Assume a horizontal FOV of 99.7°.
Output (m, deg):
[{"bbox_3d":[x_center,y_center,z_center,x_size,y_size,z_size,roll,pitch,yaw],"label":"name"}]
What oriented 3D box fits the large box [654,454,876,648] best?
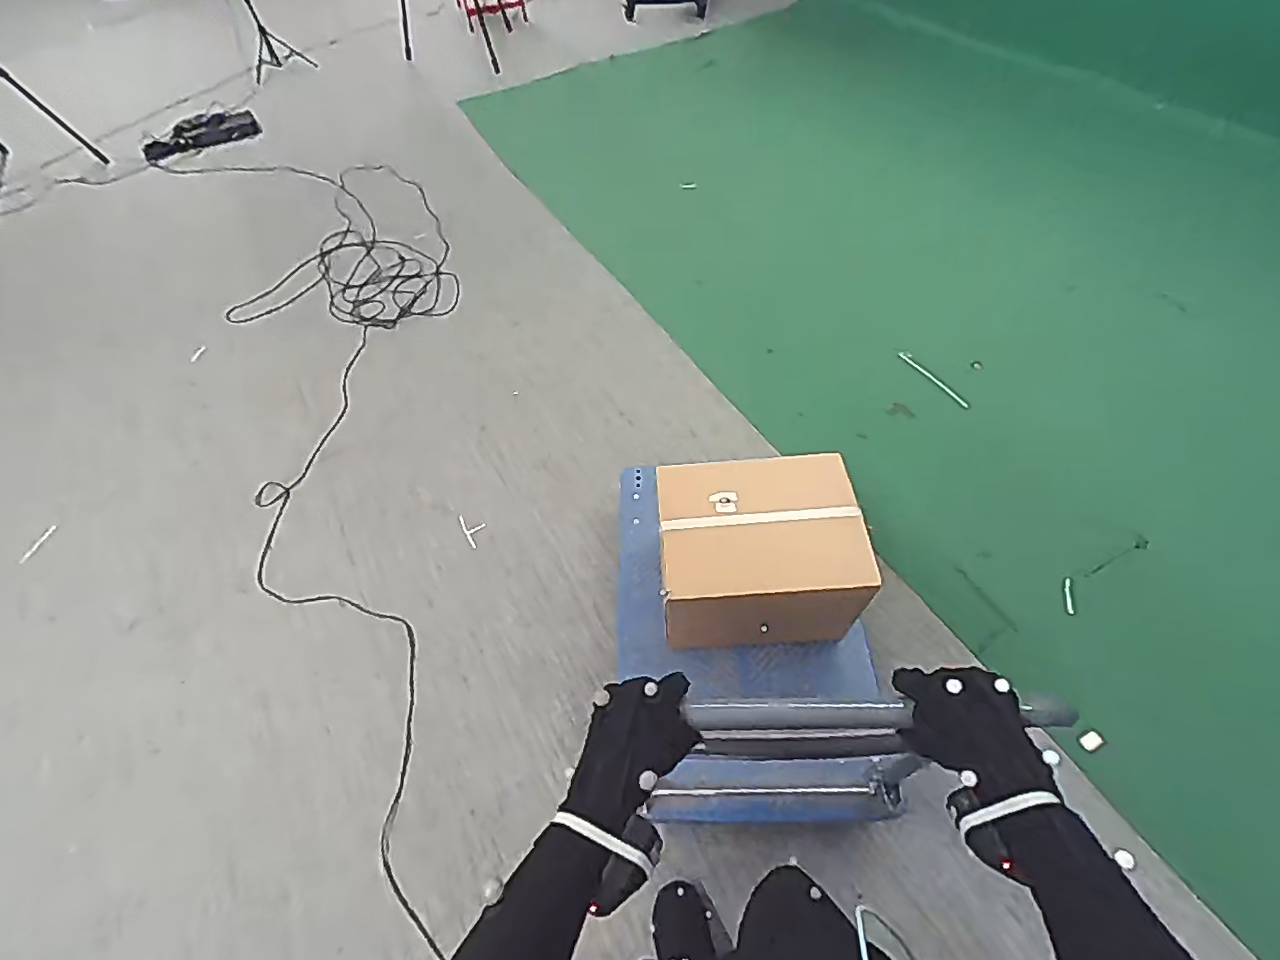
[{"bbox_3d":[0.250,0.170,1.223,0.408,0.320,0.320,-5,55,1],"label":"large box"}]
